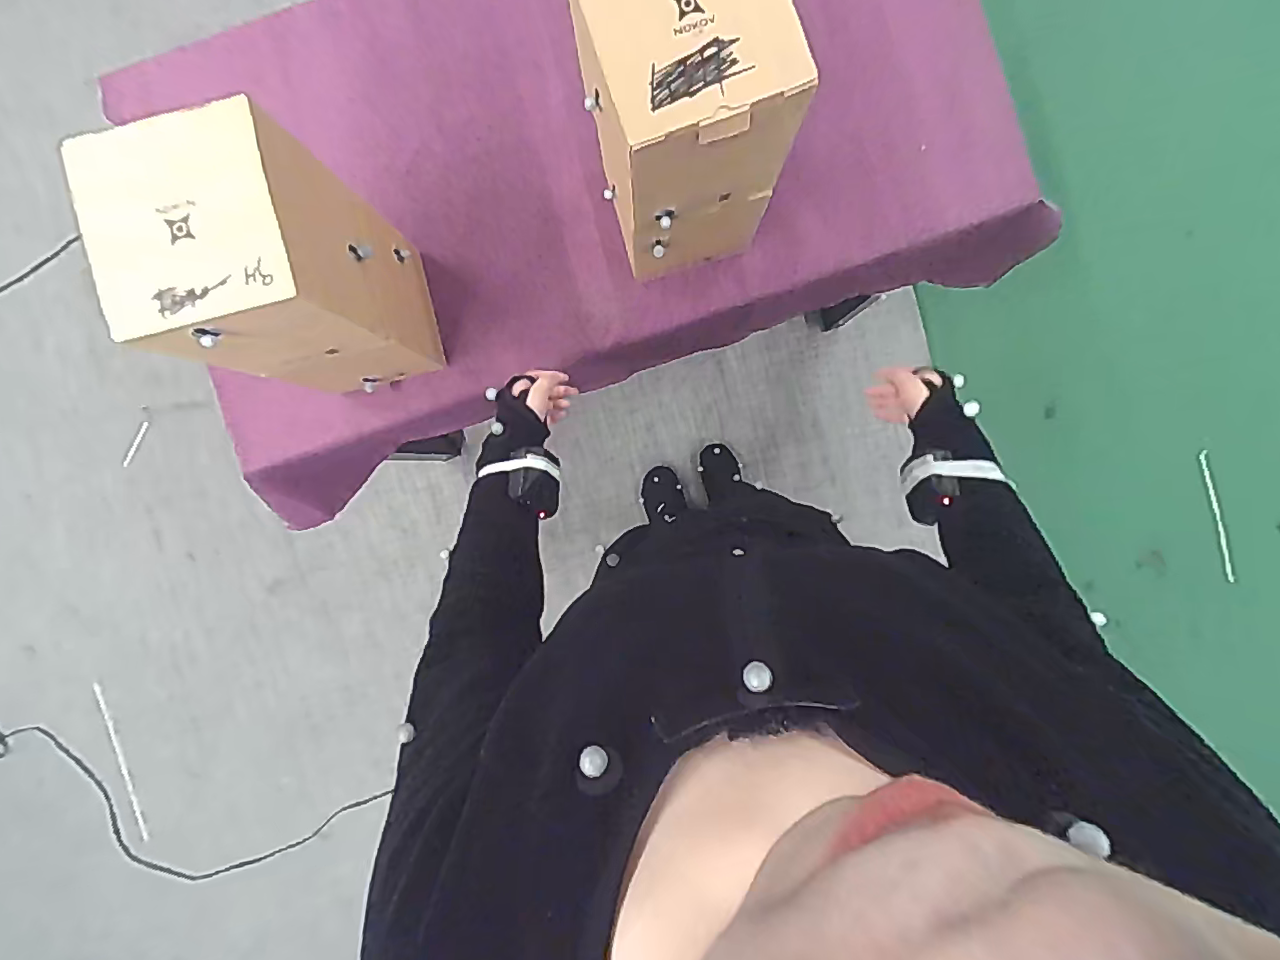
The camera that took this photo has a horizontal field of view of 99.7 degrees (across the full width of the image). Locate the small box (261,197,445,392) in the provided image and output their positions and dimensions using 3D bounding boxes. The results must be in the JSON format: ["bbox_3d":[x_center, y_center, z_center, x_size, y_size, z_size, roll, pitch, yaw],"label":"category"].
[{"bbox_3d":[-0.377,-0.226,0.702,0.168,0.176,0.179,-13,92,2],"label":"small box"}]

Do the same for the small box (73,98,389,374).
[{"bbox_3d":[-0.382,-0.221,0.537,0.168,0.176,0.179,-14,90,3],"label":"small box"}]

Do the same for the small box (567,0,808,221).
[{"bbox_3d":[0.039,-0.381,0.523,0.168,0.176,0.179,-19,89,2],"label":"small box"}]
